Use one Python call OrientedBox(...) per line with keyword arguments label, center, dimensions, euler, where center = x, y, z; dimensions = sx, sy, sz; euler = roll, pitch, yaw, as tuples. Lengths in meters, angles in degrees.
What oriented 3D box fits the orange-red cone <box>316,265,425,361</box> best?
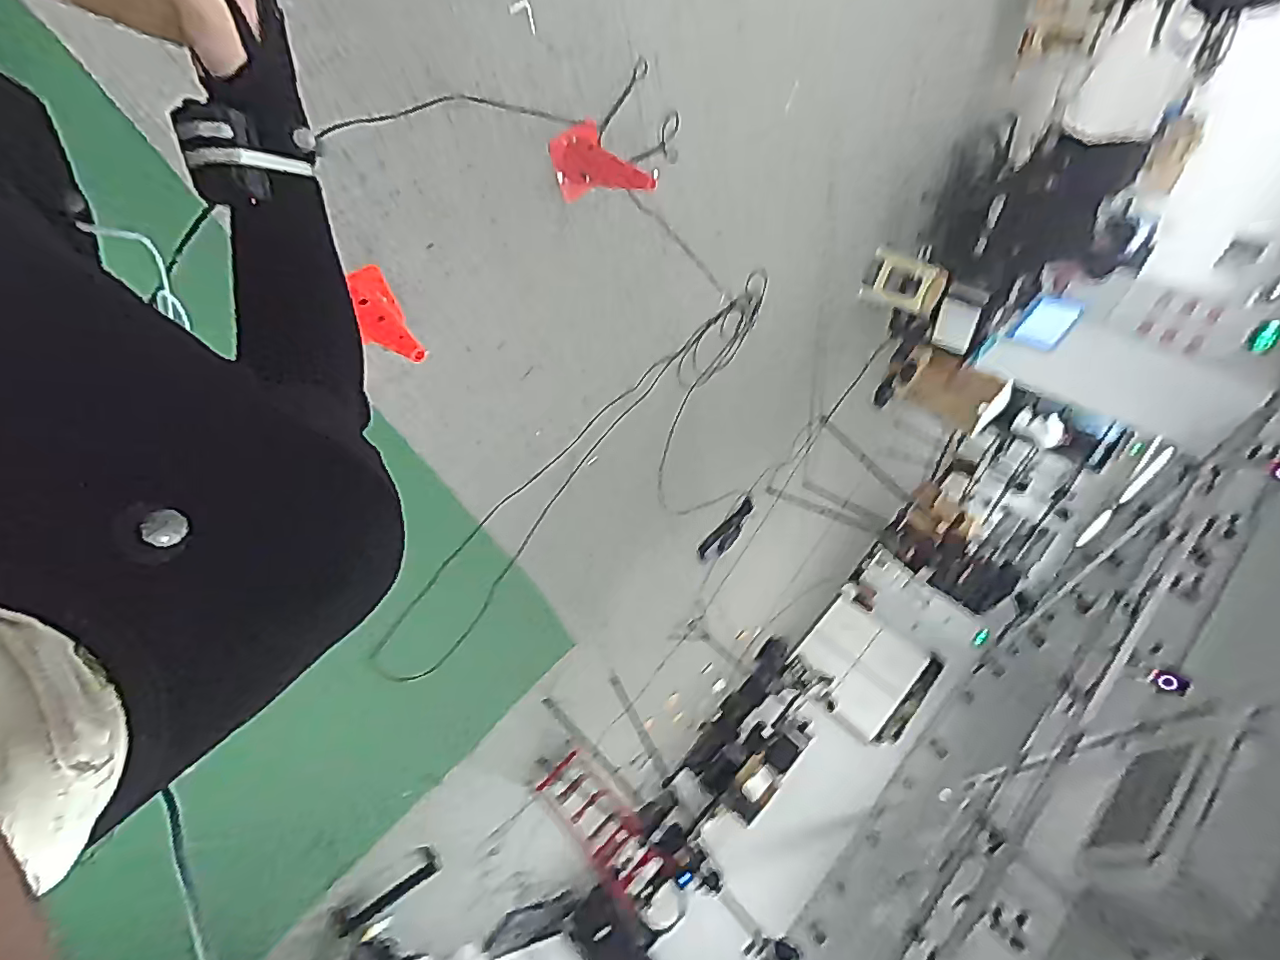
OrientedBox(label="orange-red cone", center=(-0.694, -0.418, 1.493), dimensions=(0.198, 0.360, 0.199), euler=(-39, 148, -22))
